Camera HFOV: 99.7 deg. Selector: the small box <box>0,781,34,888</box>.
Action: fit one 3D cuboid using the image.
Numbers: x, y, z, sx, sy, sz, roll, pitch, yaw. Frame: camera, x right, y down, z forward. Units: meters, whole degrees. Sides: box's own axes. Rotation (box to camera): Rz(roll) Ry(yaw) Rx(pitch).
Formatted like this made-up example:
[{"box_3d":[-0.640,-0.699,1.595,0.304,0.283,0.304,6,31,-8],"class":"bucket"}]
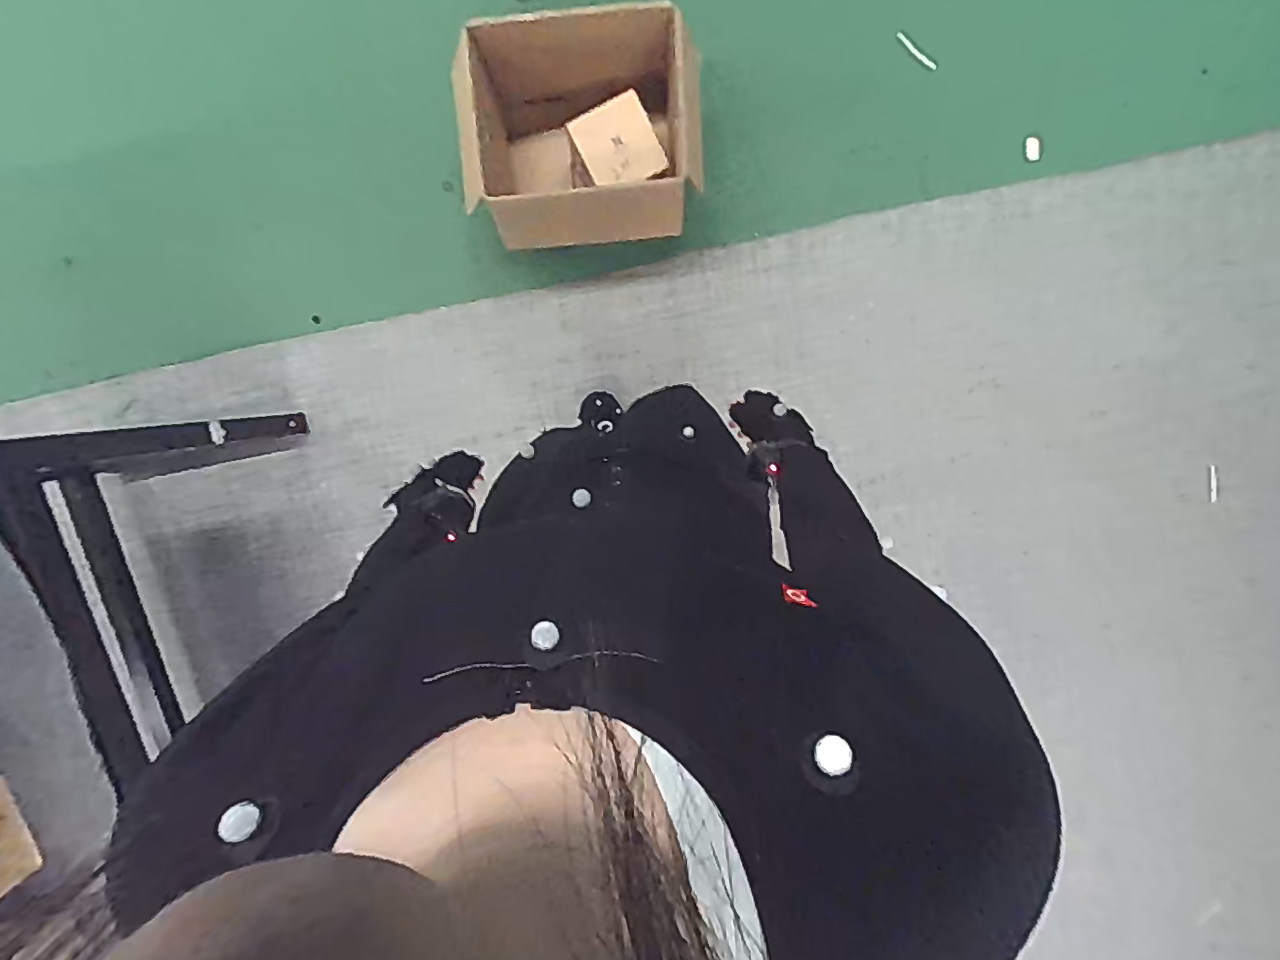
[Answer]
[{"box_3d":[-1.035,0.550,0.750,0.179,0.176,0.168,-13,99,1],"class":"small box"}]
